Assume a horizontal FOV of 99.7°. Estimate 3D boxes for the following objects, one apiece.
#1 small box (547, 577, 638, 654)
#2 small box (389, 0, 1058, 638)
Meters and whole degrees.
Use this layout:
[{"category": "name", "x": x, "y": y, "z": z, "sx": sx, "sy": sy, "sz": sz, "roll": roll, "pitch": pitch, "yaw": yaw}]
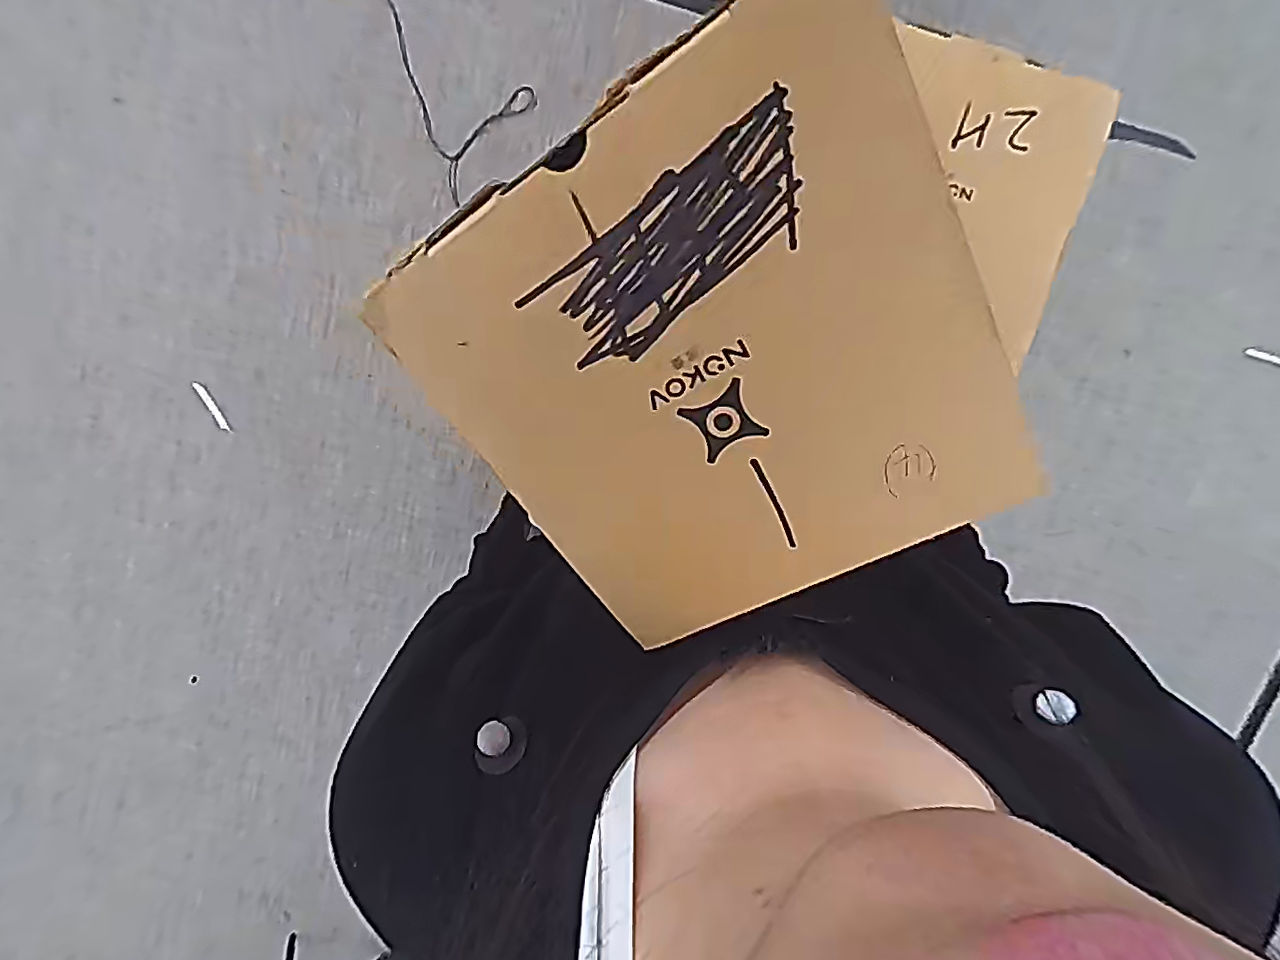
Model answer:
[{"category": "small box", "x": -0.108, "y": 0.303, "z": 1.004, "sx": 0.168, "sy": 0.176, "sz": 0.179, "roll": 21, "pitch": 99, "yaw": -2}, {"category": "small box", "x": 0.036, "y": -0.069, "z": 0.249, "sx": 0.168, "sy": 0.176, "sz": 0.179, "roll": -28, "pitch": 113, "yaw": 18}]
